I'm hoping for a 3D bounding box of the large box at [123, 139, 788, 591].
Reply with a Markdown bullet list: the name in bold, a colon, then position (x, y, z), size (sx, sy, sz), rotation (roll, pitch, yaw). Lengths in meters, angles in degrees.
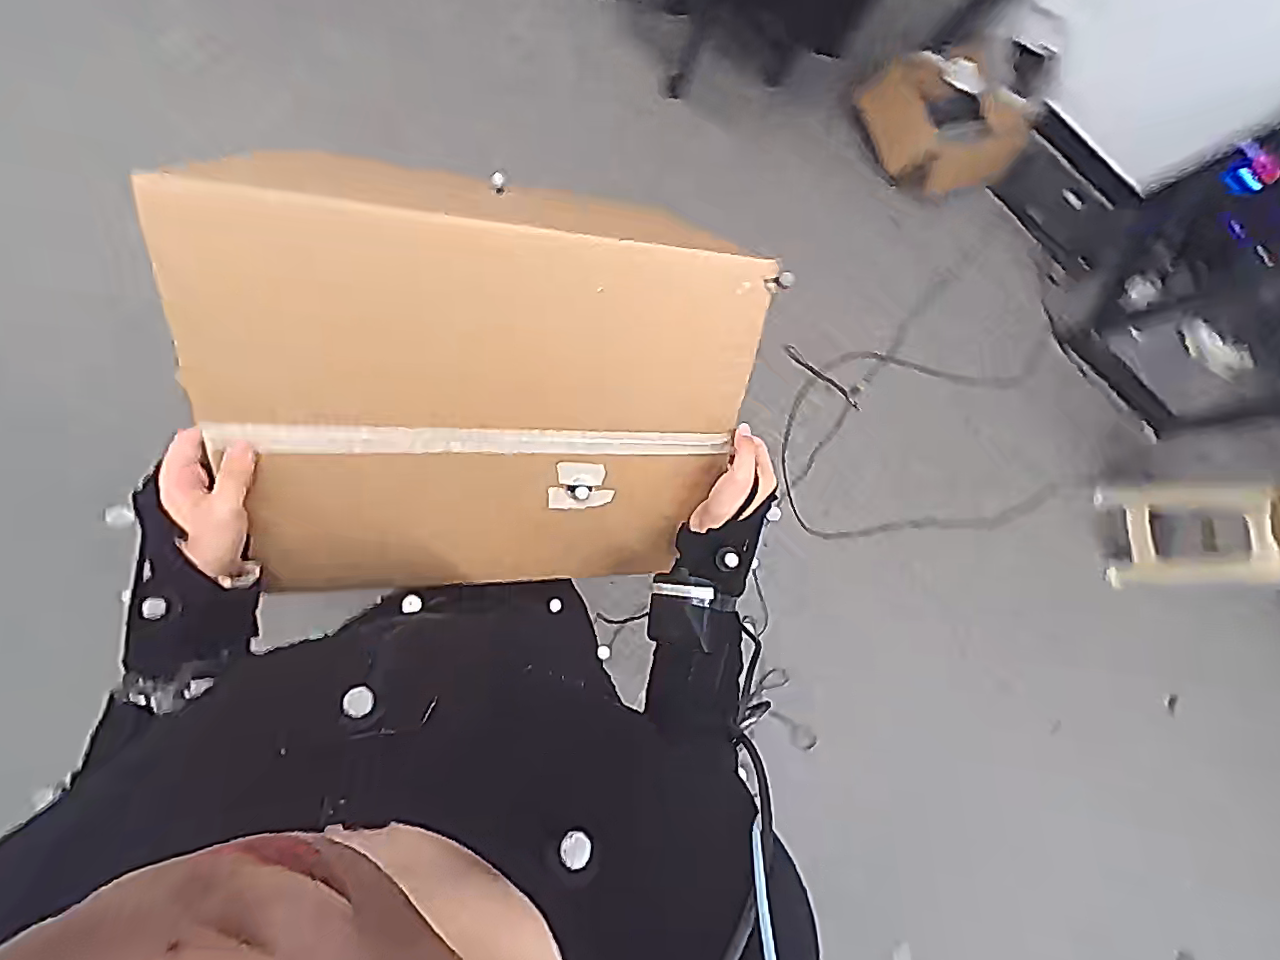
- **large box**: position (-0.142, -0.127, 0.530), size (0.408, 0.320, 0.320), rotation (-2, 124, -19)
